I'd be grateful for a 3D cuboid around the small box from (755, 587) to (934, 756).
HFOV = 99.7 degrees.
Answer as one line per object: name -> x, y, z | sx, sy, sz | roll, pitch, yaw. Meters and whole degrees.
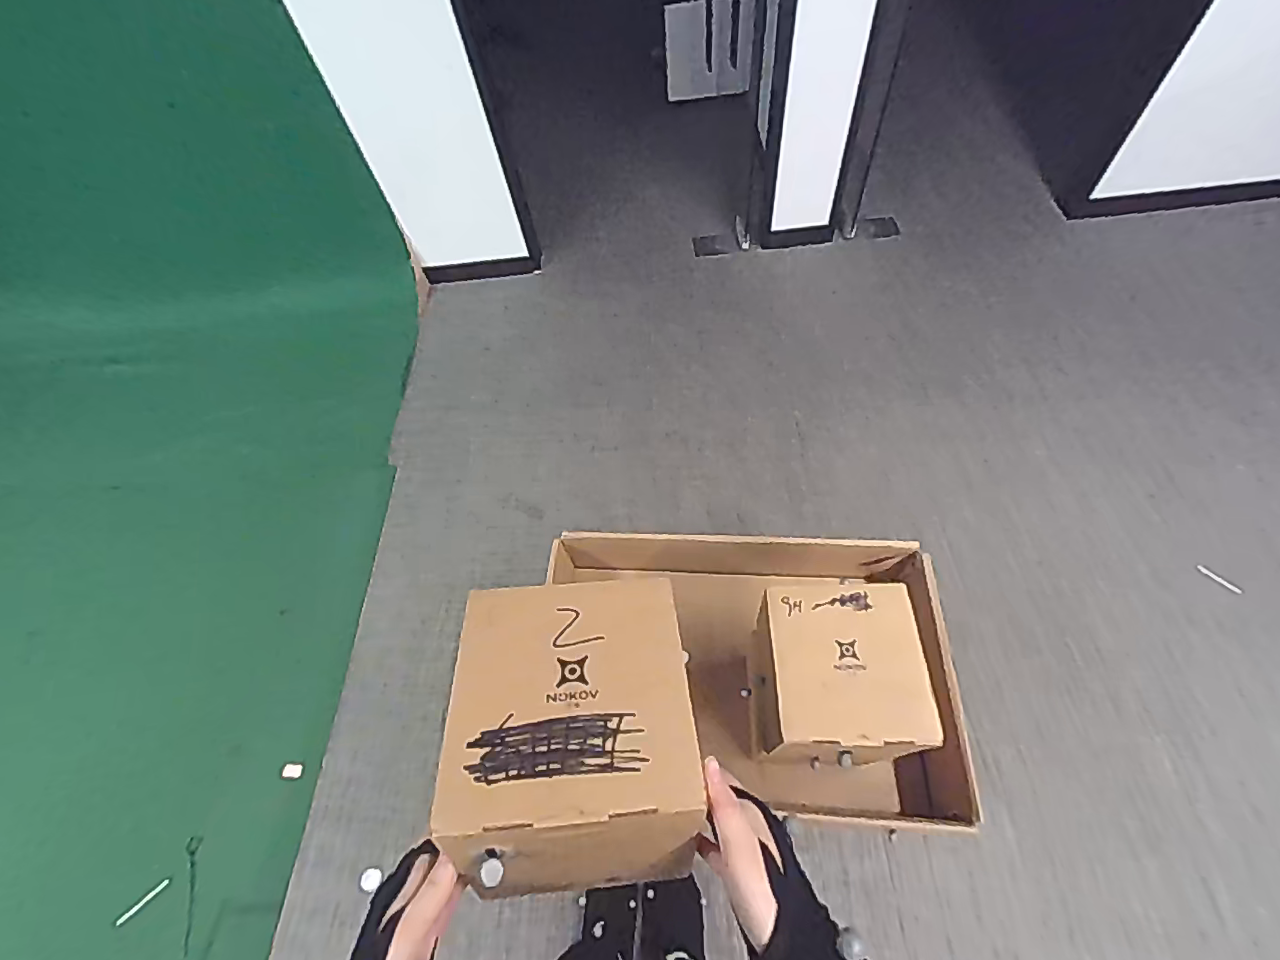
small box -> 0.237, 0.244, 0.678 | 0.168, 0.176, 0.179 | -1, 60, 6
